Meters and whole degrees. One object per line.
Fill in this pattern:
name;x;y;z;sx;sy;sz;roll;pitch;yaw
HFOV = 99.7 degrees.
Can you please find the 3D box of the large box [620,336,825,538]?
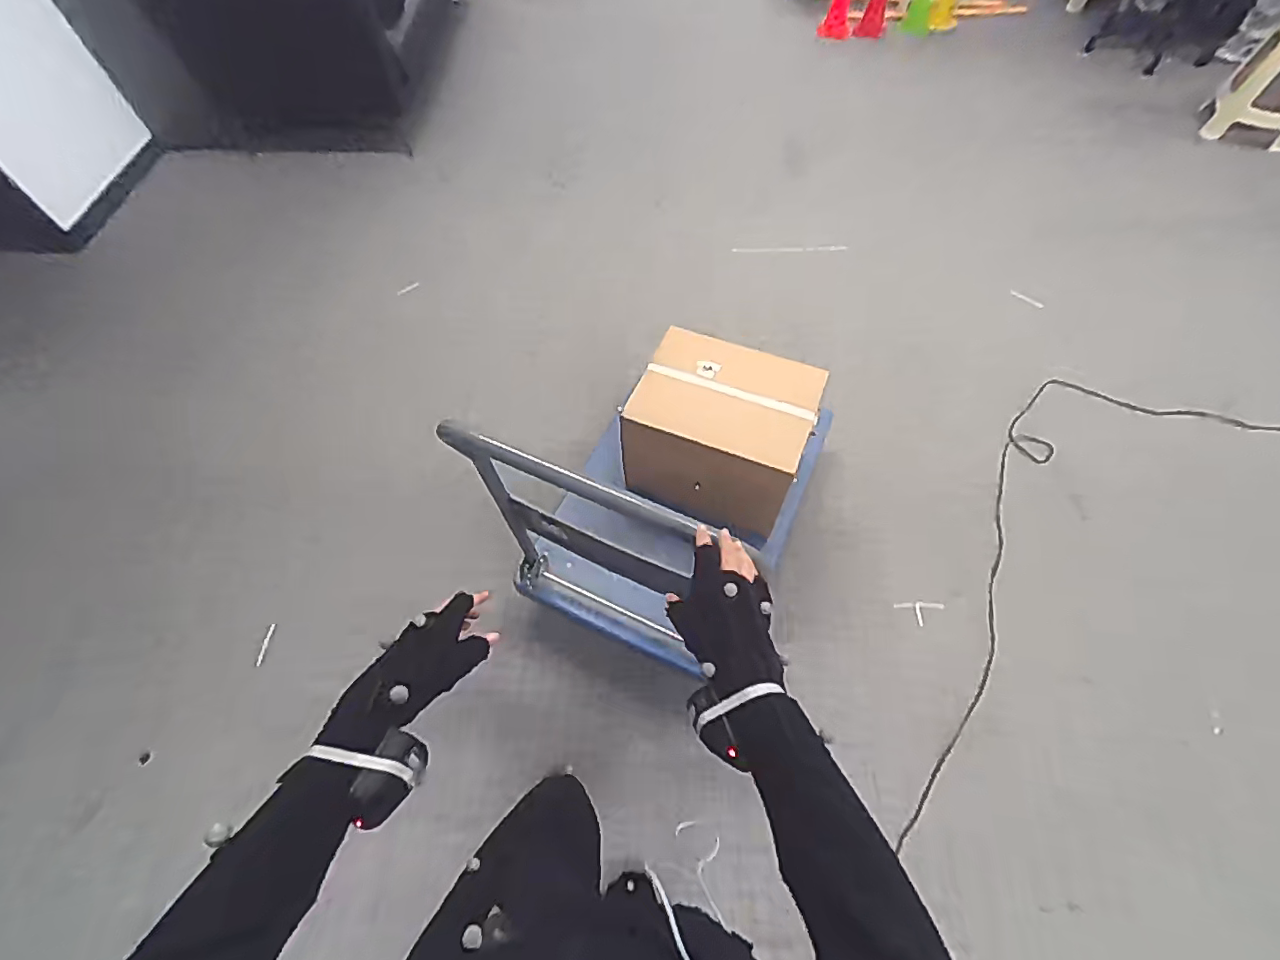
large box;0.202;-0.104;1.367;0.408;0.320;0.320;20;60;15
